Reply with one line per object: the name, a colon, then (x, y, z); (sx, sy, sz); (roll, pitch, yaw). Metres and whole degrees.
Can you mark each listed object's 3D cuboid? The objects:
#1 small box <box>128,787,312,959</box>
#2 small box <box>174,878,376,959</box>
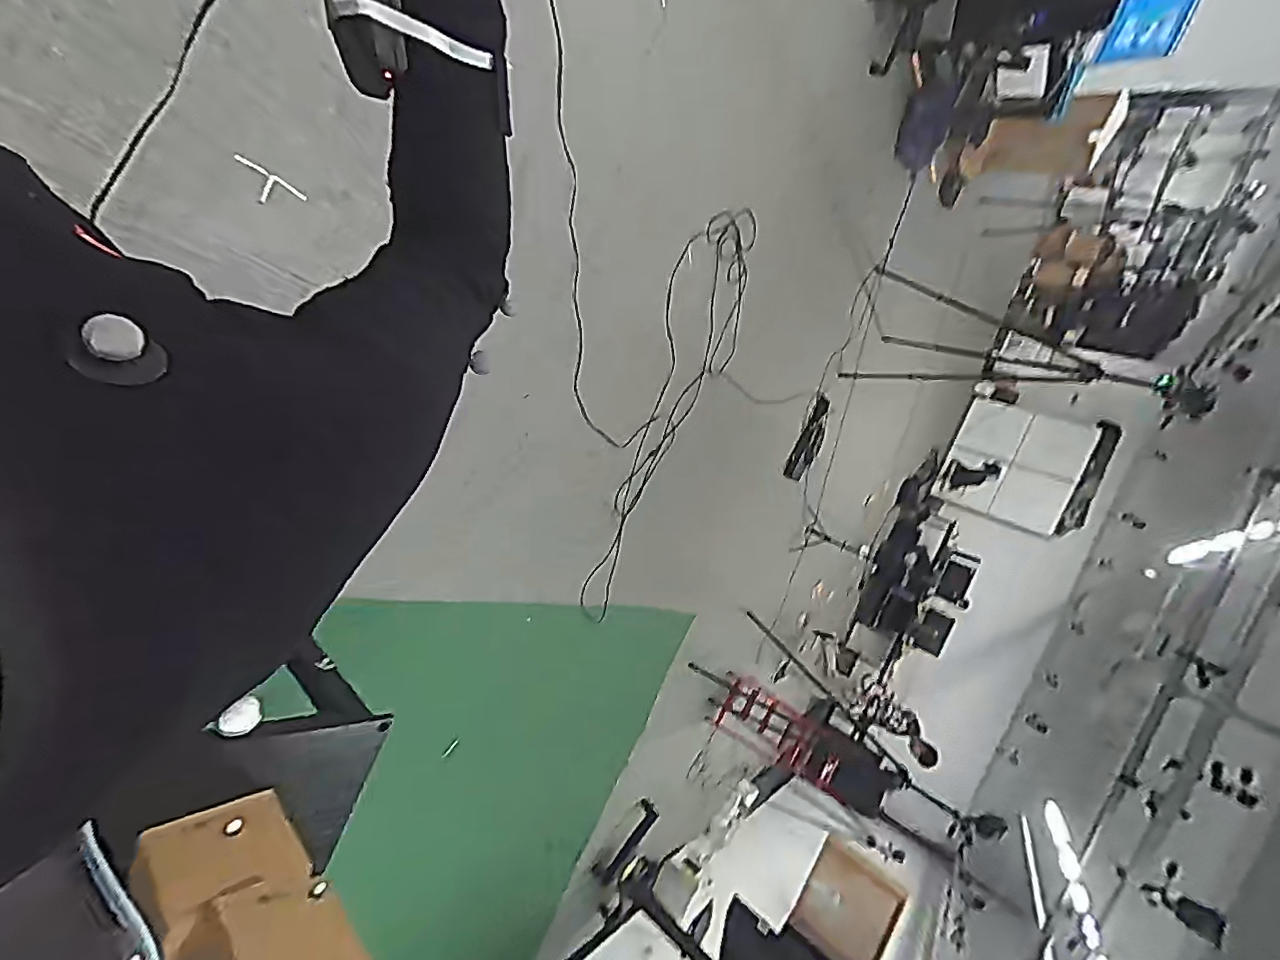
small box: (-0.622, 0.604, 0.798); (0.168, 0.176, 0.179); (7, 105, -54)
small box: (-0.498, 0.664, 0.709); (0.179, 0.176, 0.168); (-58, 145, -9)
